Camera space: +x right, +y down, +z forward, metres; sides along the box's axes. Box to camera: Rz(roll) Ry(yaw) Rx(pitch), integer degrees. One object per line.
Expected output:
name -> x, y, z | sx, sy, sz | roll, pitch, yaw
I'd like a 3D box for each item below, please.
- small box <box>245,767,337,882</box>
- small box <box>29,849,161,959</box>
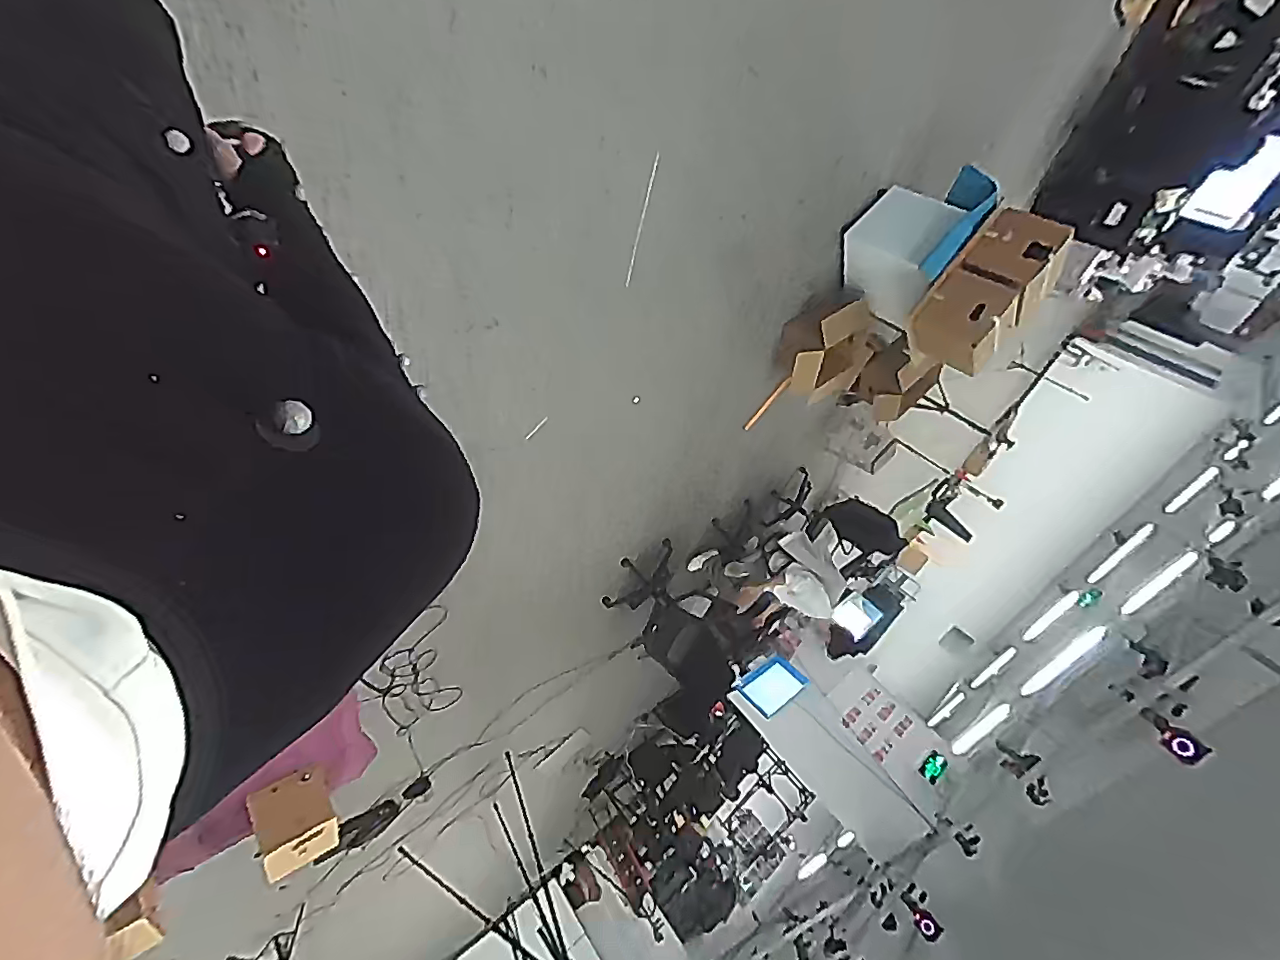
small box -> -0.924, 0.901, 1.434 | 0.168, 0.176, 0.179 | -15, 136, -41
small box -> -1.186, 0.957, 1.182 | 0.168, 0.176, 0.179 | -18, 139, -40
